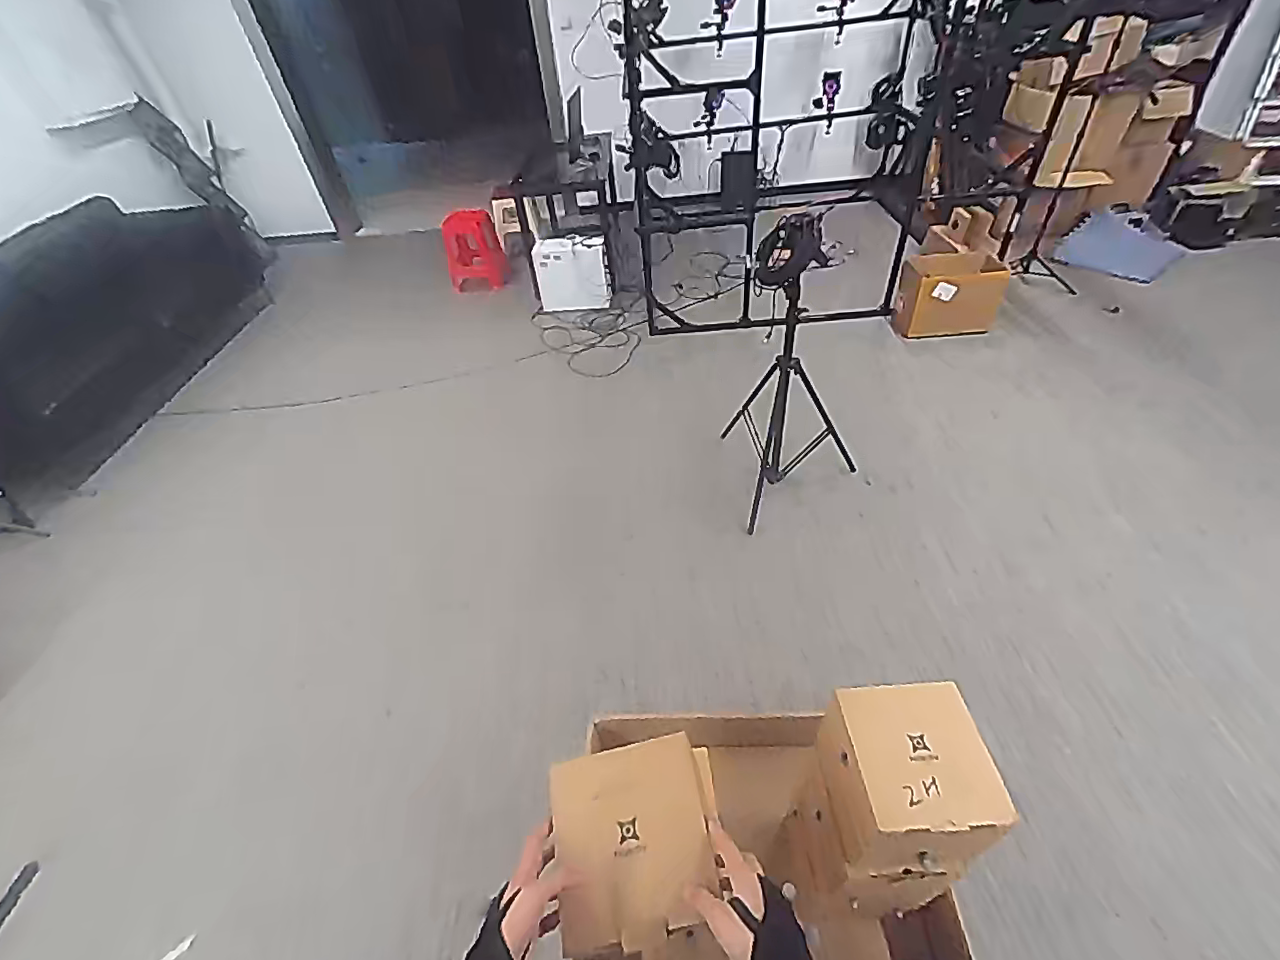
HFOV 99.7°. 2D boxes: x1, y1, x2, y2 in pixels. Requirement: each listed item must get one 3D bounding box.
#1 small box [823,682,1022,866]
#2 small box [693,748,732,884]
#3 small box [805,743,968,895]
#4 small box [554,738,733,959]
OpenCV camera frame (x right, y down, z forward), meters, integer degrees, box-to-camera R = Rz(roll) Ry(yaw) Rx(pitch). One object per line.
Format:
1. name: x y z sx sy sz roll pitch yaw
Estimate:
1. small box: 0.361 0.399 0.736 0.168 0.176 0.179 -5 44 2
2. small box: 0.045 0.552 0.856 0.168 0.176 0.179 -7 45 0
3. small box: 0.366 0.527 0.841 0.168 0.176 0.179 -4 43 2
4. small box: 0.008 0.428 0.633 0.168 0.176 0.179 -14 51 1
